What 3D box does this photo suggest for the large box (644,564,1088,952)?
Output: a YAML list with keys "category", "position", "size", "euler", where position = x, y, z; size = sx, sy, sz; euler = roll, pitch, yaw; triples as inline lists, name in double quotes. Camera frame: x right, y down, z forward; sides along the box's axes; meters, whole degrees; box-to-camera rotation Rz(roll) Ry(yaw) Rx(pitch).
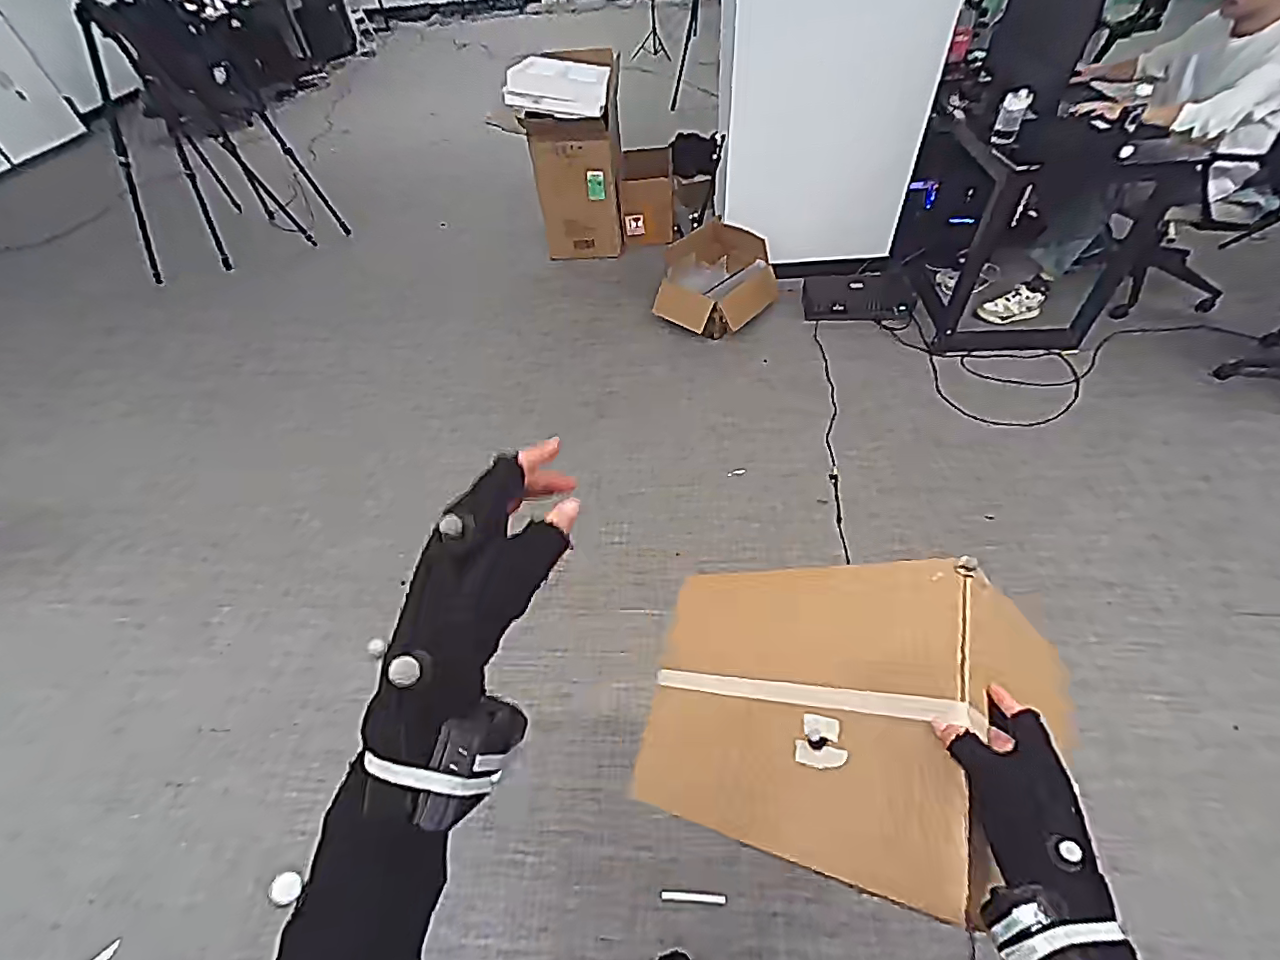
- category: "large box"
  position: [0.279, 0.330, 0.707]
  size: [0.408, 0.320, 0.320]
  euler: [-17, 47, 49]
